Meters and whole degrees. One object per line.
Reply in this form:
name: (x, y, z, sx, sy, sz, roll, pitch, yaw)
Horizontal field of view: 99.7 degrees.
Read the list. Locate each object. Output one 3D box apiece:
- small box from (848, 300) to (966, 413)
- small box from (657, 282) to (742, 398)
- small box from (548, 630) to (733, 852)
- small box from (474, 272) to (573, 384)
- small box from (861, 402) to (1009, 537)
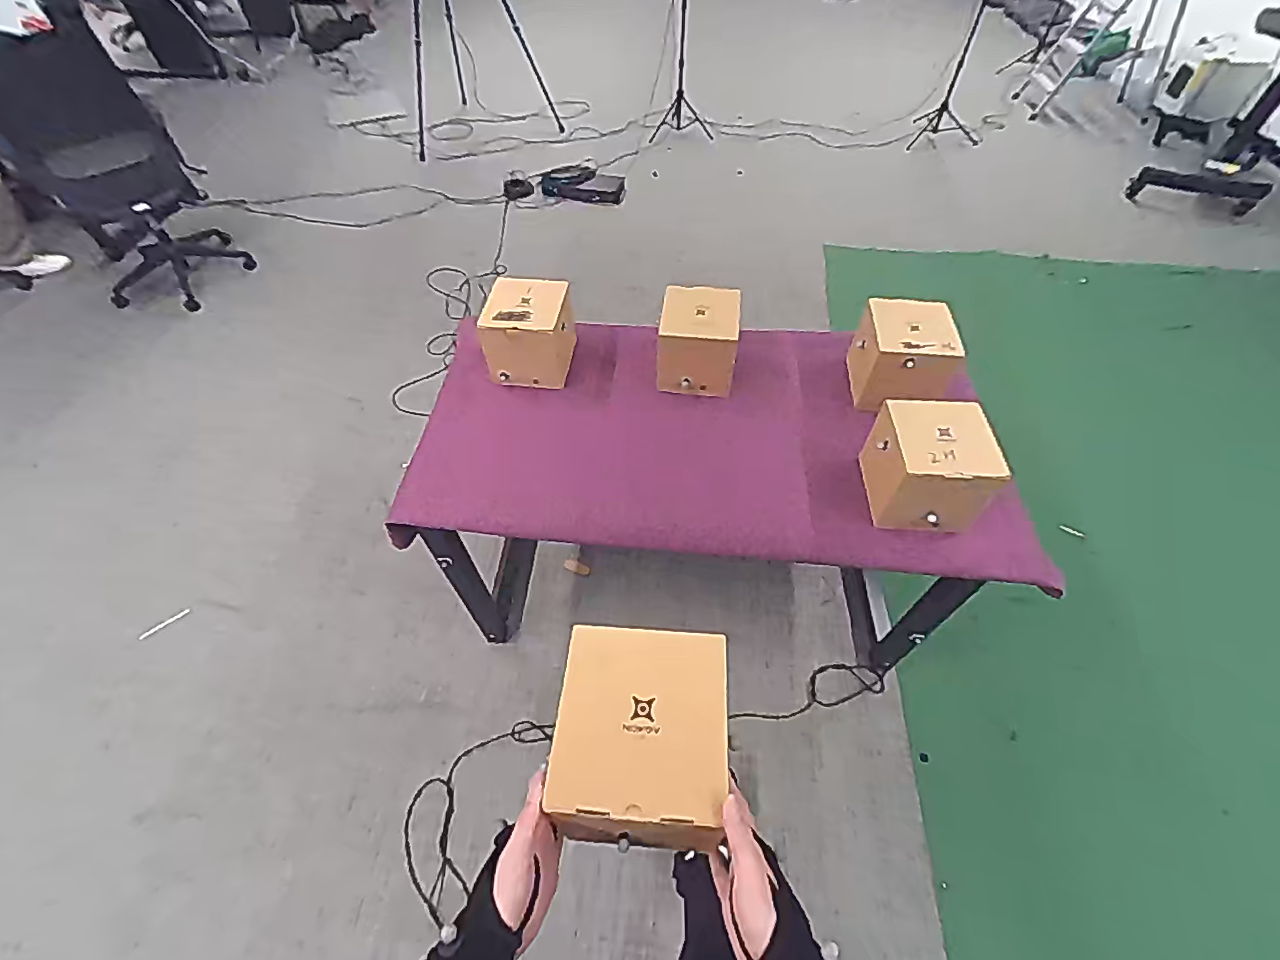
small box: (0.561, -0.262, 1.166, 0.168, 0.176, 0.179, 5, 54, 4)
small box: (0.128, -0.309, 1.197, 0.168, 0.176, 0.179, 7, 55, 5)
small box: (0.006, 0.283, 0.583, 0.168, 0.176, 0.179, 4, 52, 3)
small box: (-0.249, -0.335, 1.205, 0.168, 0.176, 0.179, 6, 55, 3)
small box: (0.520, -0.018, 0.985, 0.168, 0.176, 0.179, 3, 54, 4)
